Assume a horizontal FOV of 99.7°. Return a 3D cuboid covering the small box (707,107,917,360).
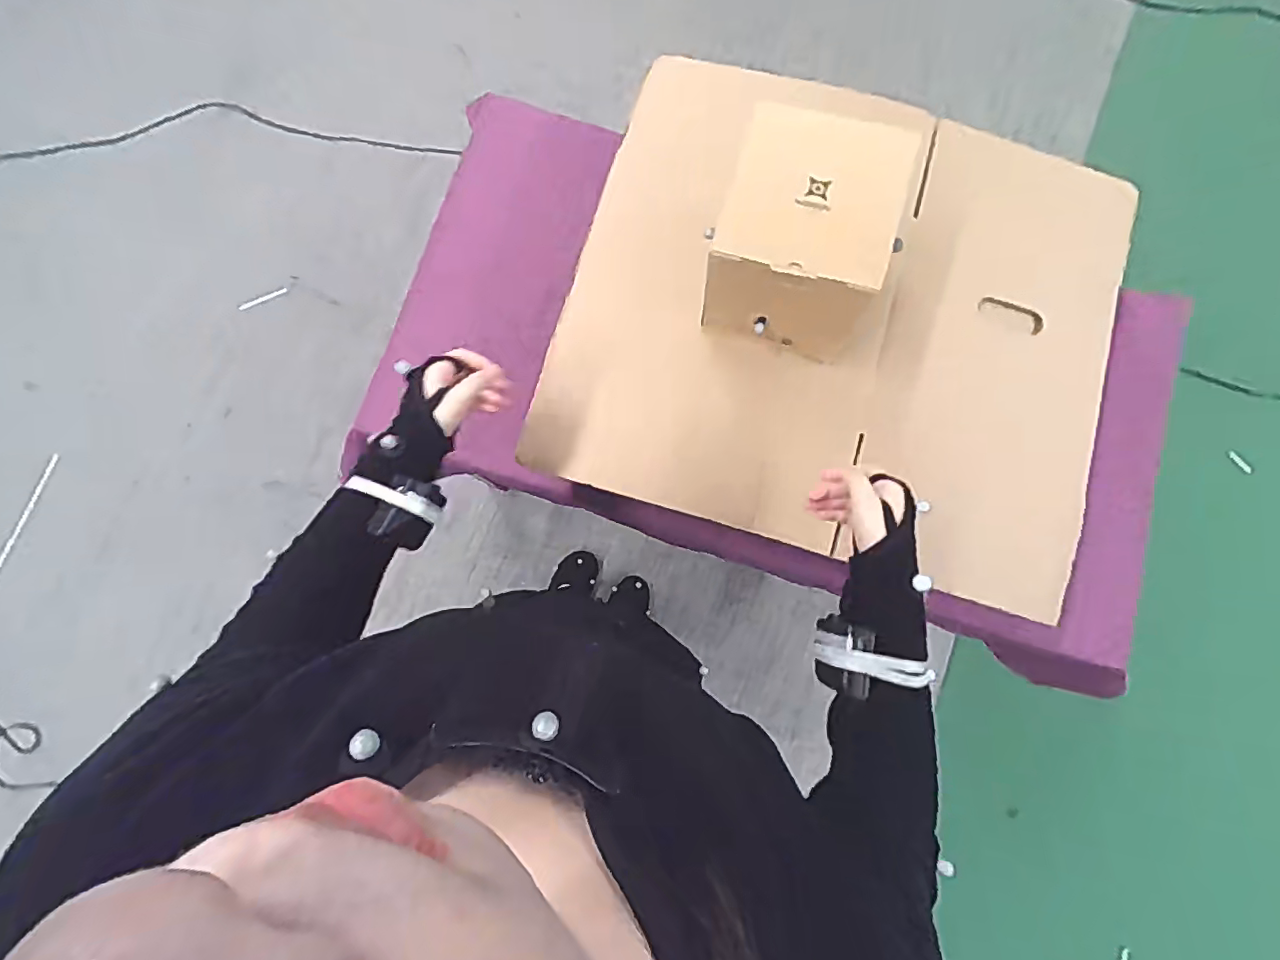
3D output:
[{"bbox_3d":[0.176,-0.262,0.607,0.168,0.176,0.179,17,83,7],"label":"small box"}]
